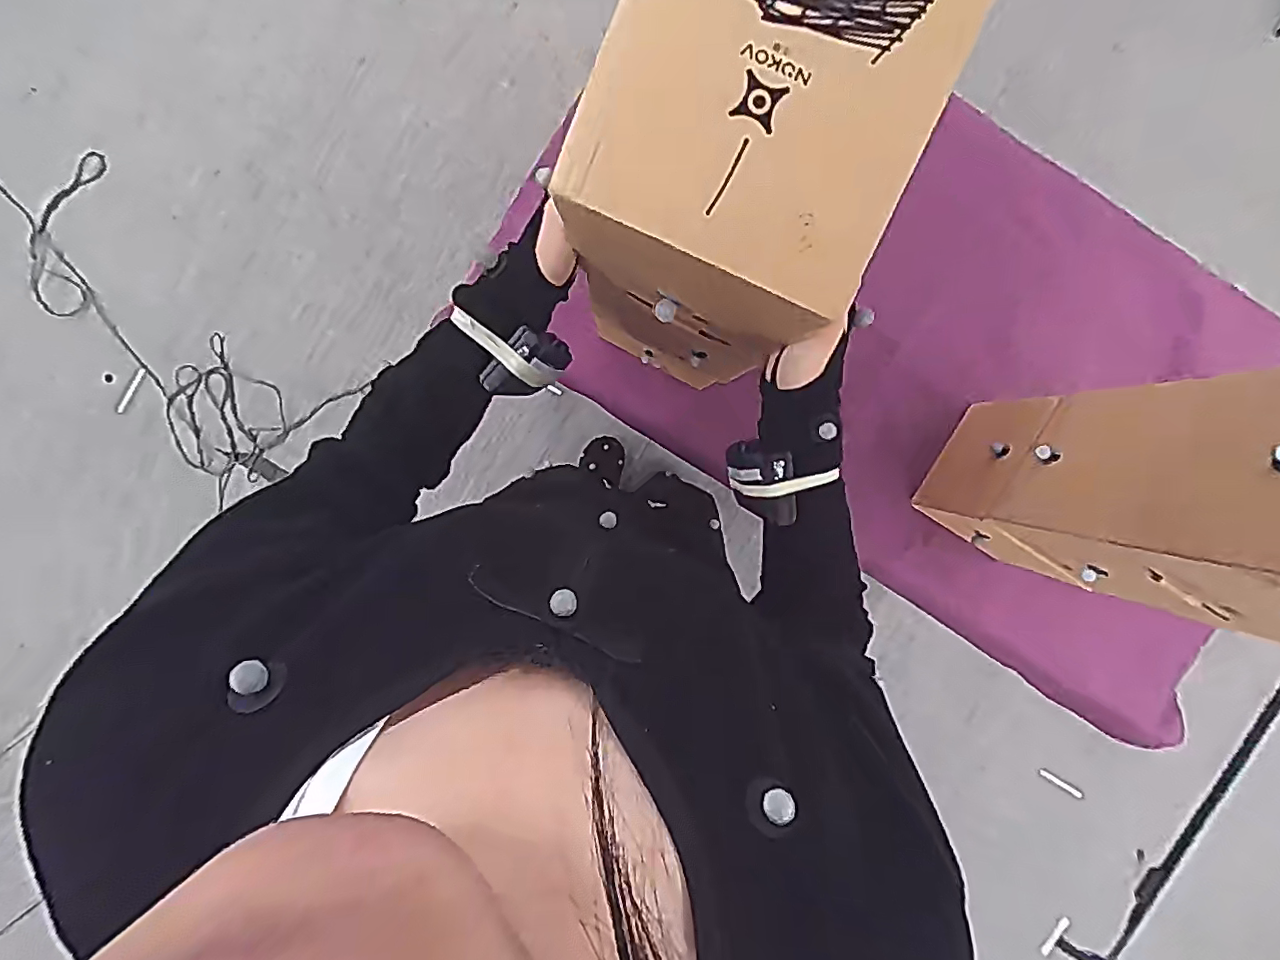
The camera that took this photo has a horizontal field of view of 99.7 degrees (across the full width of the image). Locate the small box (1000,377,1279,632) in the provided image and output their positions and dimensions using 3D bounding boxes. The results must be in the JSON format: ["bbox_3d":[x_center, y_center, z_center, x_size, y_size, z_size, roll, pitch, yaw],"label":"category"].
[{"bbox_3d":[0.523,0.019,0.560,0.168,0.176,0.179,32,92,-4],"label":"small box"}]

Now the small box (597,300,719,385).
[{"bbox_3d":[0.059,-0.236,0.683,0.168,0.176,0.179,27,92,-5],"label":"small box"}]

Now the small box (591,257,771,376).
[{"bbox_3d":[0.065,-0.216,0.522,0.168,0.176,0.179,26,92,-5],"label":"small box"}]

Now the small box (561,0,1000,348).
[{"bbox_3d":[0.066,-0.202,0.343,0.168,0.176,0.179,24,98,-3],"label":"small box"}]

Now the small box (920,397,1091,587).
[{"bbox_3d":[0.514,0.011,0.724,0.168,0.176,0.179,32,92,-4],"label":"small box"}]
